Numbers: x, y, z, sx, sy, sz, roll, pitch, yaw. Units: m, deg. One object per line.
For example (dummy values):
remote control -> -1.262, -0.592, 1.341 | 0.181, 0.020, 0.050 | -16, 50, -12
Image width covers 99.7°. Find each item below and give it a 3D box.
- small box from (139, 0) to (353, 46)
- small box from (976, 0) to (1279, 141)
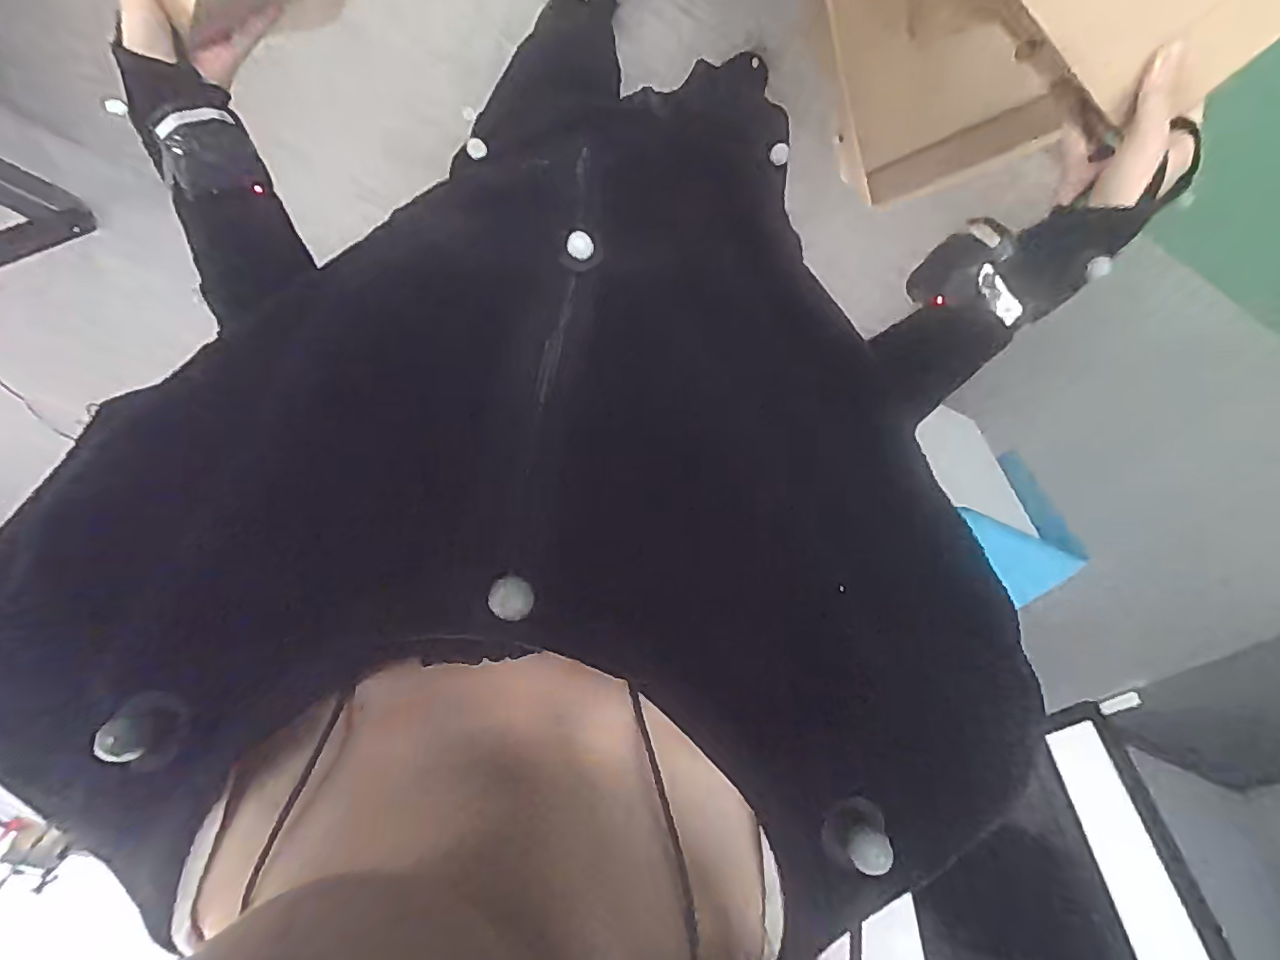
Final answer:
small box -> -0.324, -0.479, 0.405 | 0.168, 0.176, 0.179 | -17, 120, 41
small box -> 0.329, -0.368, 0.347 | 0.179, 0.176, 0.168 | 34, 134, -17
